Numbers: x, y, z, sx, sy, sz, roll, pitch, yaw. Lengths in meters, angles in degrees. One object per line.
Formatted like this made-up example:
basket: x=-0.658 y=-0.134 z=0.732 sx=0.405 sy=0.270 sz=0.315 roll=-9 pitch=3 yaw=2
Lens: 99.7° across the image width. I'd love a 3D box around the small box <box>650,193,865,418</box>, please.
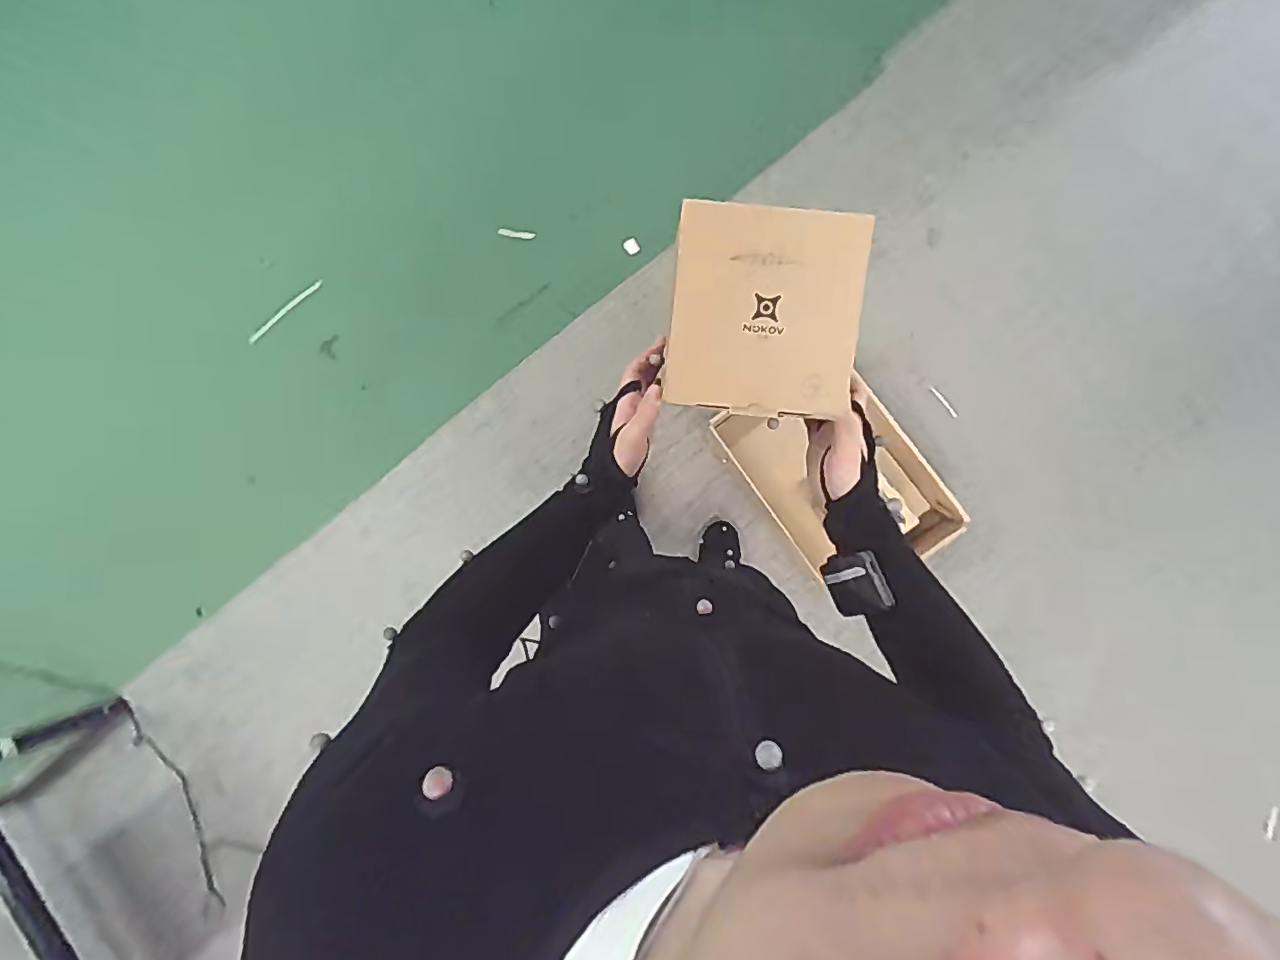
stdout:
small box: x=0.101 y=-0.159 z=0.543 sx=0.168 sy=0.176 sz=0.179 roll=5 pitch=98 yaw=0
